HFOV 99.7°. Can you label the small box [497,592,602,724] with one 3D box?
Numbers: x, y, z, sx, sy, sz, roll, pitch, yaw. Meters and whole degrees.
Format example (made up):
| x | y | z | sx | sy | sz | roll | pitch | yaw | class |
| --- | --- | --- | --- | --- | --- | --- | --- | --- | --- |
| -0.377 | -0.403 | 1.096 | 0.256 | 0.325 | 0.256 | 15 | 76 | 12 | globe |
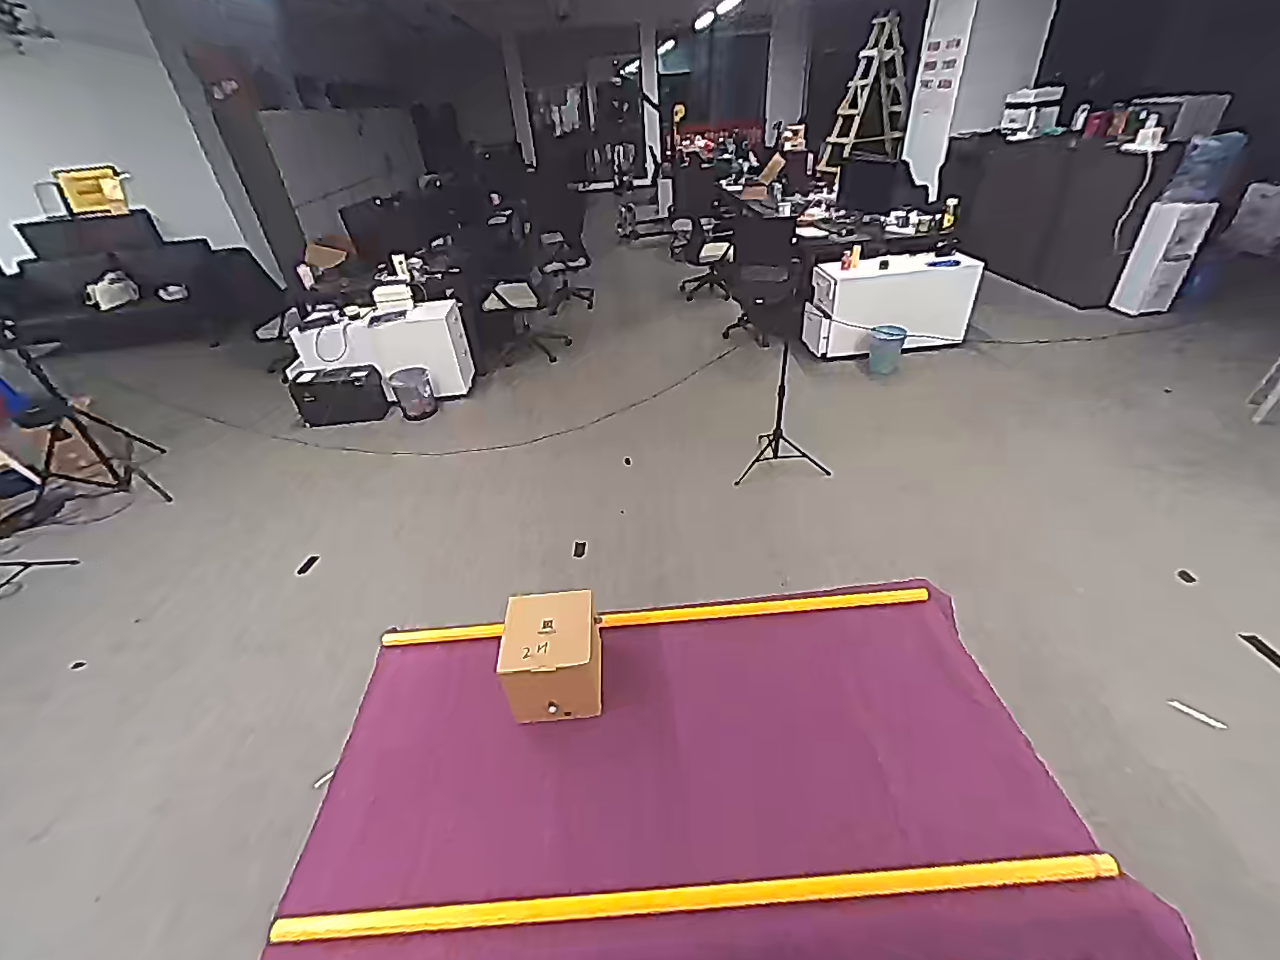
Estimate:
| x | y | z | sx | sy | sz | roll | pitch | yaw | class |
| --- | --- | --- | --- | --- | --- | --- | --- | --- | --- |
| -0.166 | 0.344 | 1.050 | 0.168 | 0.176 | 0.179 | -5 | 37 | 0 | small box |
